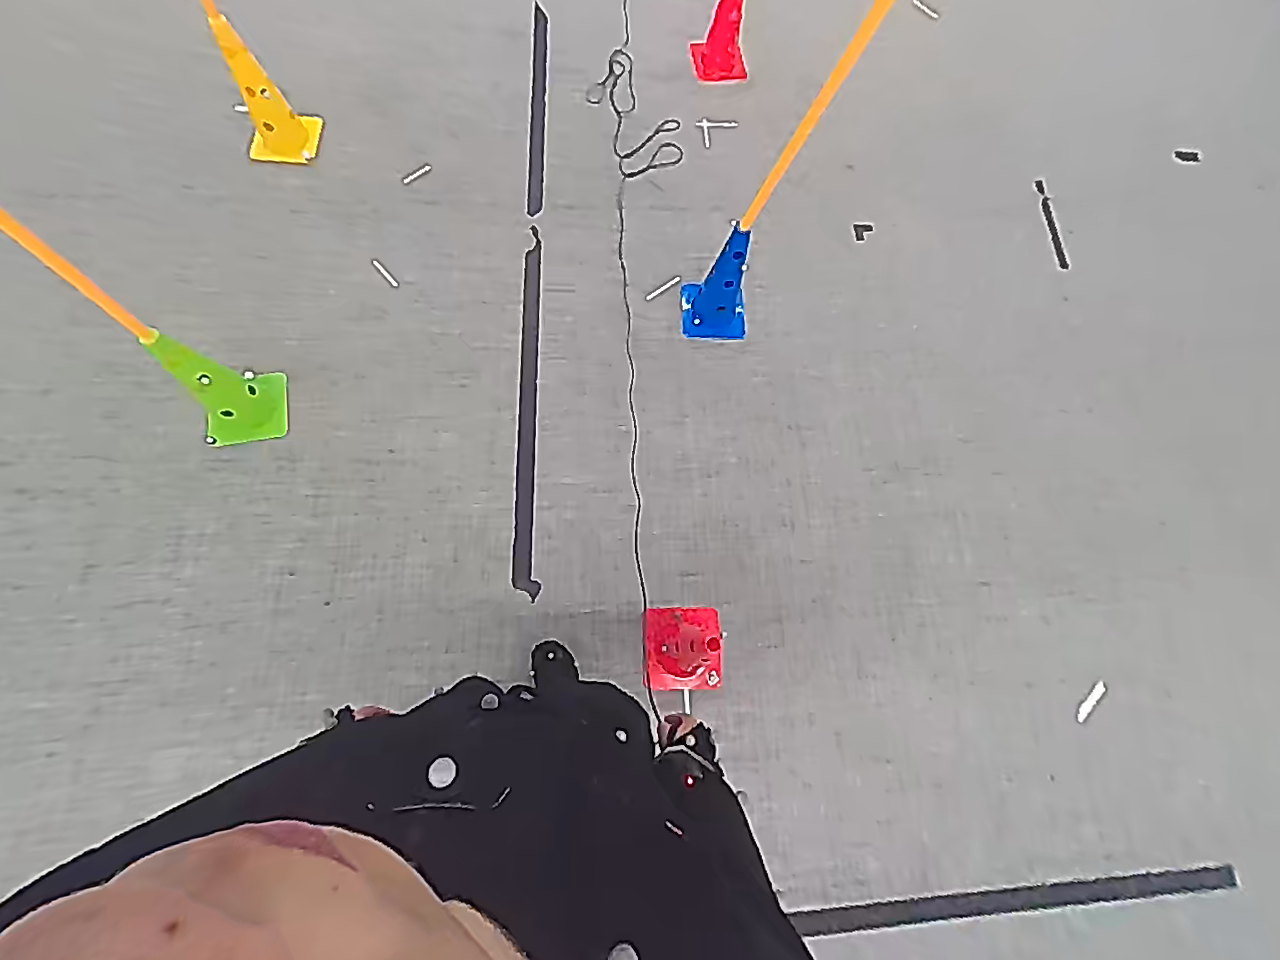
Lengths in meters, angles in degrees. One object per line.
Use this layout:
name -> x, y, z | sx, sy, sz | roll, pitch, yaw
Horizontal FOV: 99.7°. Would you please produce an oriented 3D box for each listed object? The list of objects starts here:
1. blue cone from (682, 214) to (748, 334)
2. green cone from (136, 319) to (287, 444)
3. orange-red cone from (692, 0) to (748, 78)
blue cone -> 0.244, -0.598, 1.554 | 0.193, 0.380, 0.192 | 2, 71, -5
green cone -> -1.055, -0.258, 1.311 | 0.200, 0.368, 0.202 | -11, 71, -9
orange-red cone -> 0.316, -1.653, 1.895 | 0.199, 0.360, 0.198 | -6, 72, -6
